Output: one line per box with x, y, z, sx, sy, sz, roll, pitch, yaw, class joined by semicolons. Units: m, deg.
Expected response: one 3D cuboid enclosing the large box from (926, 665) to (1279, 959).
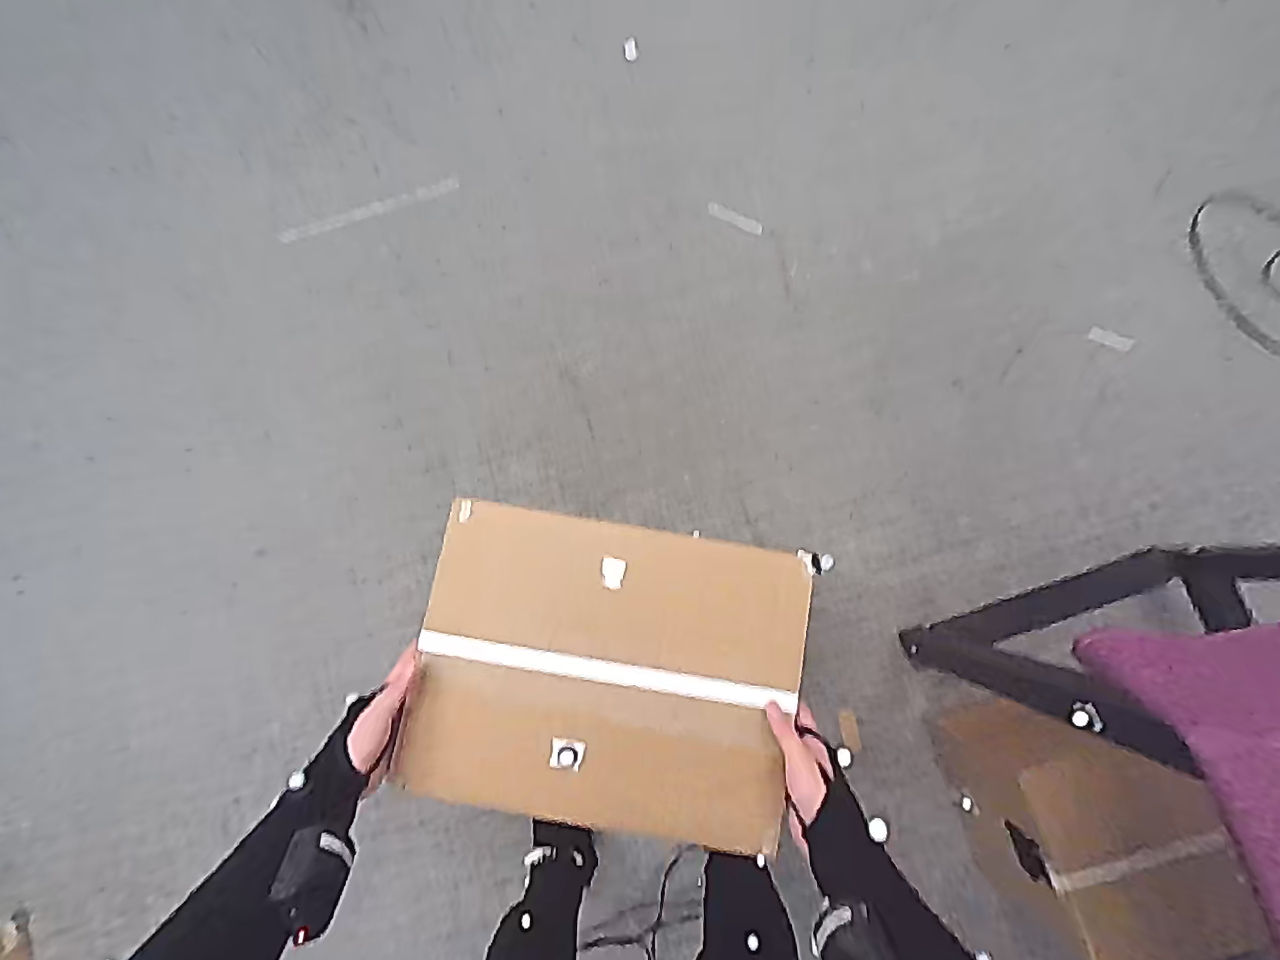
0.806;0.553;0.936;0.408;0.320;0.320;-17;81;-1;large box
